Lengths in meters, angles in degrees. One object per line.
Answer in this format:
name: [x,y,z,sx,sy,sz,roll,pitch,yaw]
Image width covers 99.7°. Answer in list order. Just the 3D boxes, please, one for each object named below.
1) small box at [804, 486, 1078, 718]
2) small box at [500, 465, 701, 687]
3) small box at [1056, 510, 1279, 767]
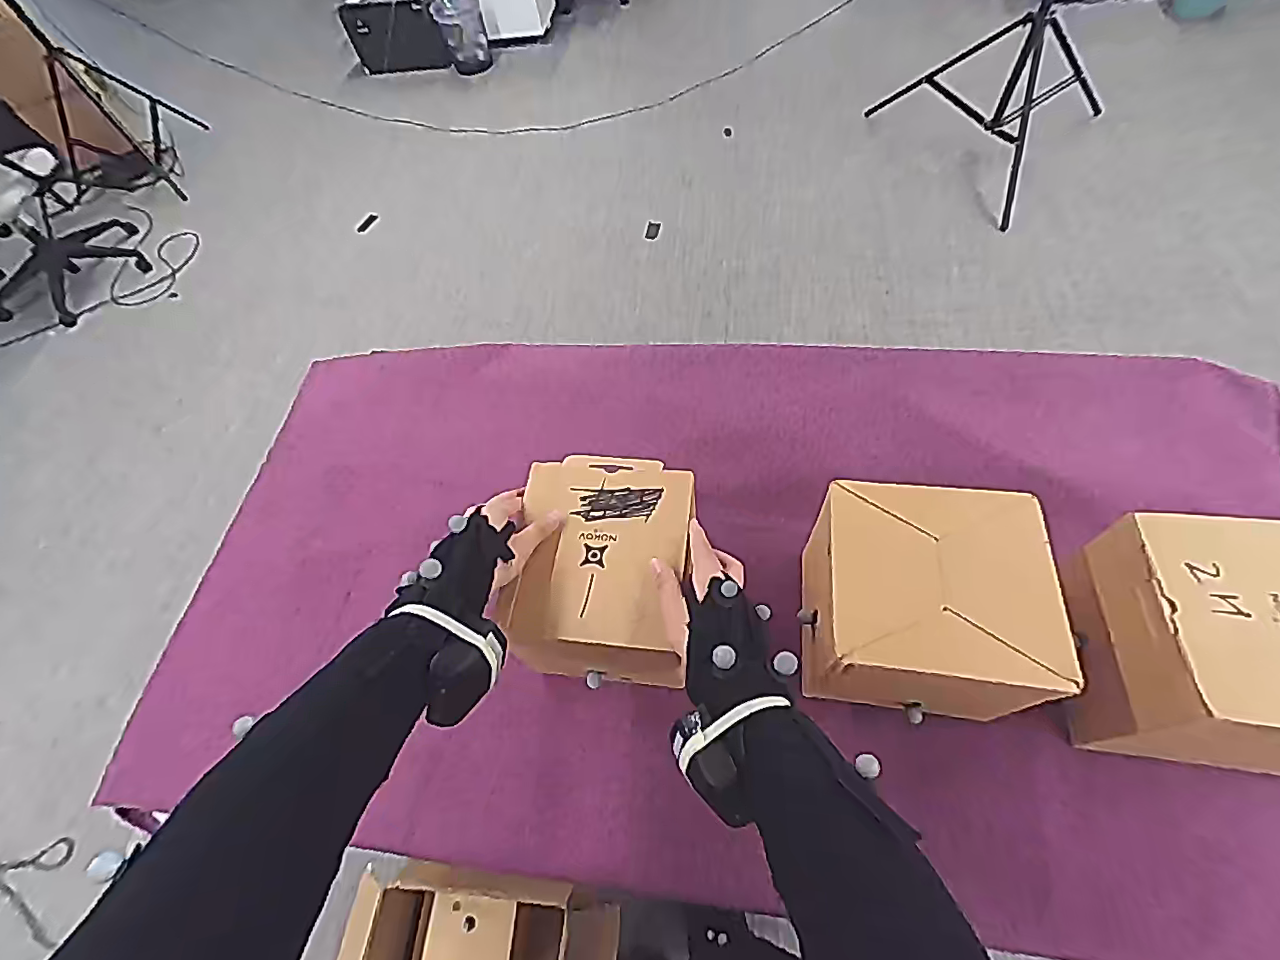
small box: [0.260,0.117,0.519,0.179,0.176,0.168,4,59,10]
small box: [-0.024,0.104,0.568,0.168,0.176,0.179,3,60,9]
small box: [0.500,0.144,0.472,0.179,0.176,0.168,4,58,10]
